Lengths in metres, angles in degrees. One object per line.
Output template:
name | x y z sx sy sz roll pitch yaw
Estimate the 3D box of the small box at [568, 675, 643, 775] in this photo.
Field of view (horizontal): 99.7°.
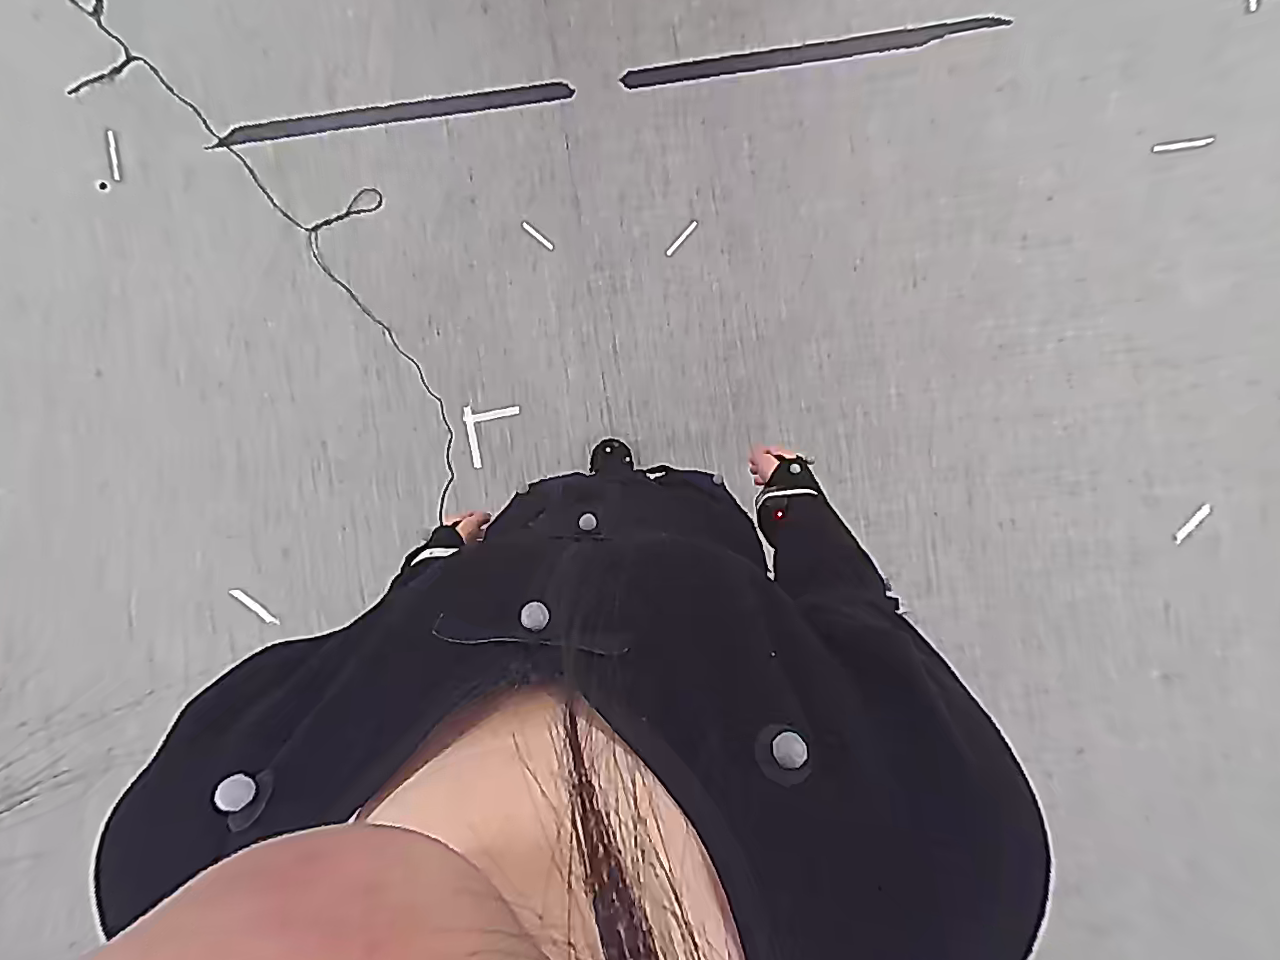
small box | -0.085 0.646 1.439 0.168 0.176 0.179 -10 92 2
